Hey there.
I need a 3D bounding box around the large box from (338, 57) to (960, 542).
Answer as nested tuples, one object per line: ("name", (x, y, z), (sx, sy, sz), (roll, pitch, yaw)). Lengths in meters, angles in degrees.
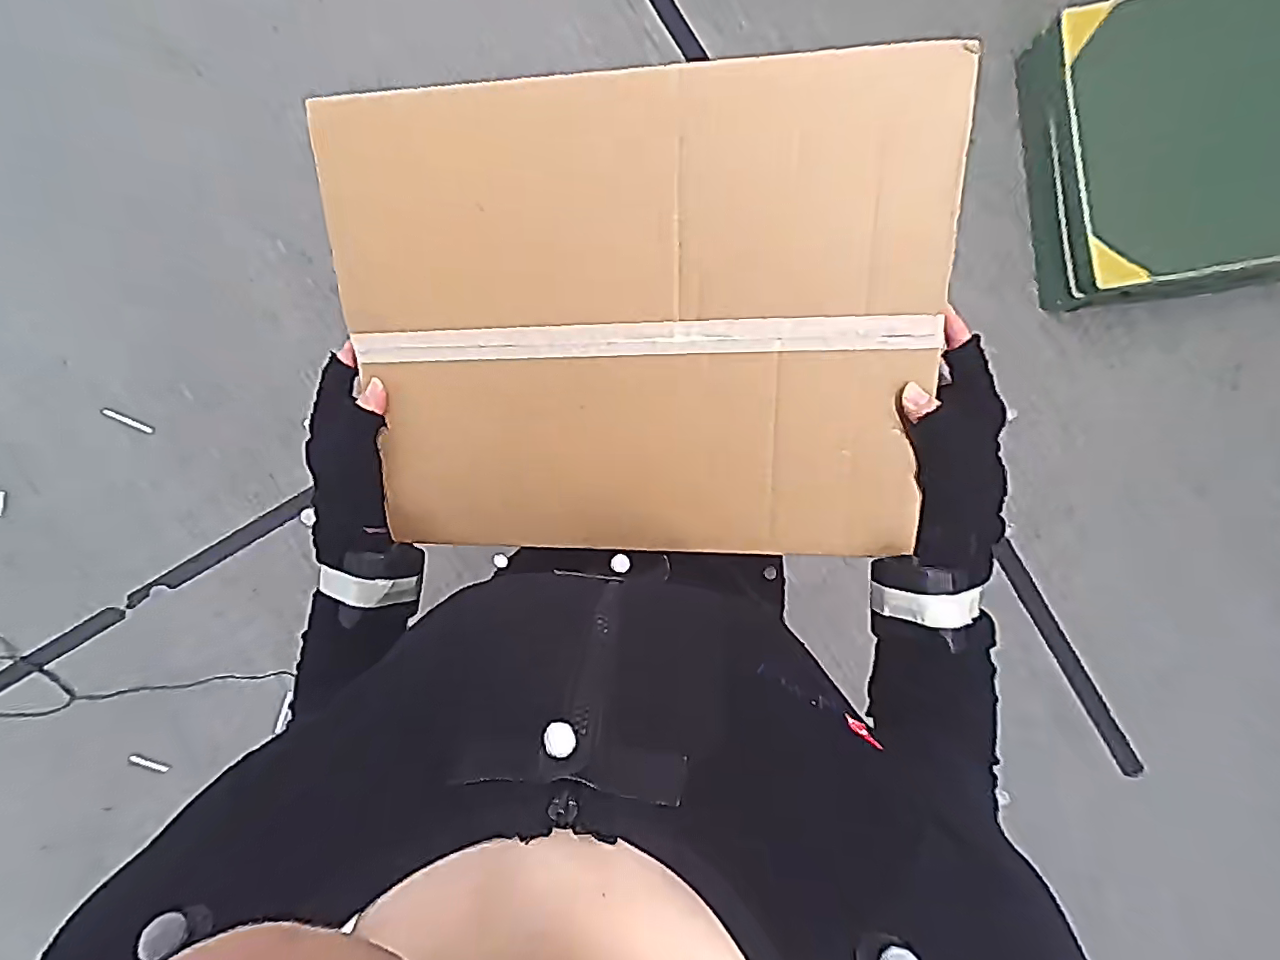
("large box", (0.014, -0.143, 0.524), (0.408, 0.320, 0.320), (0, 109, 8))
